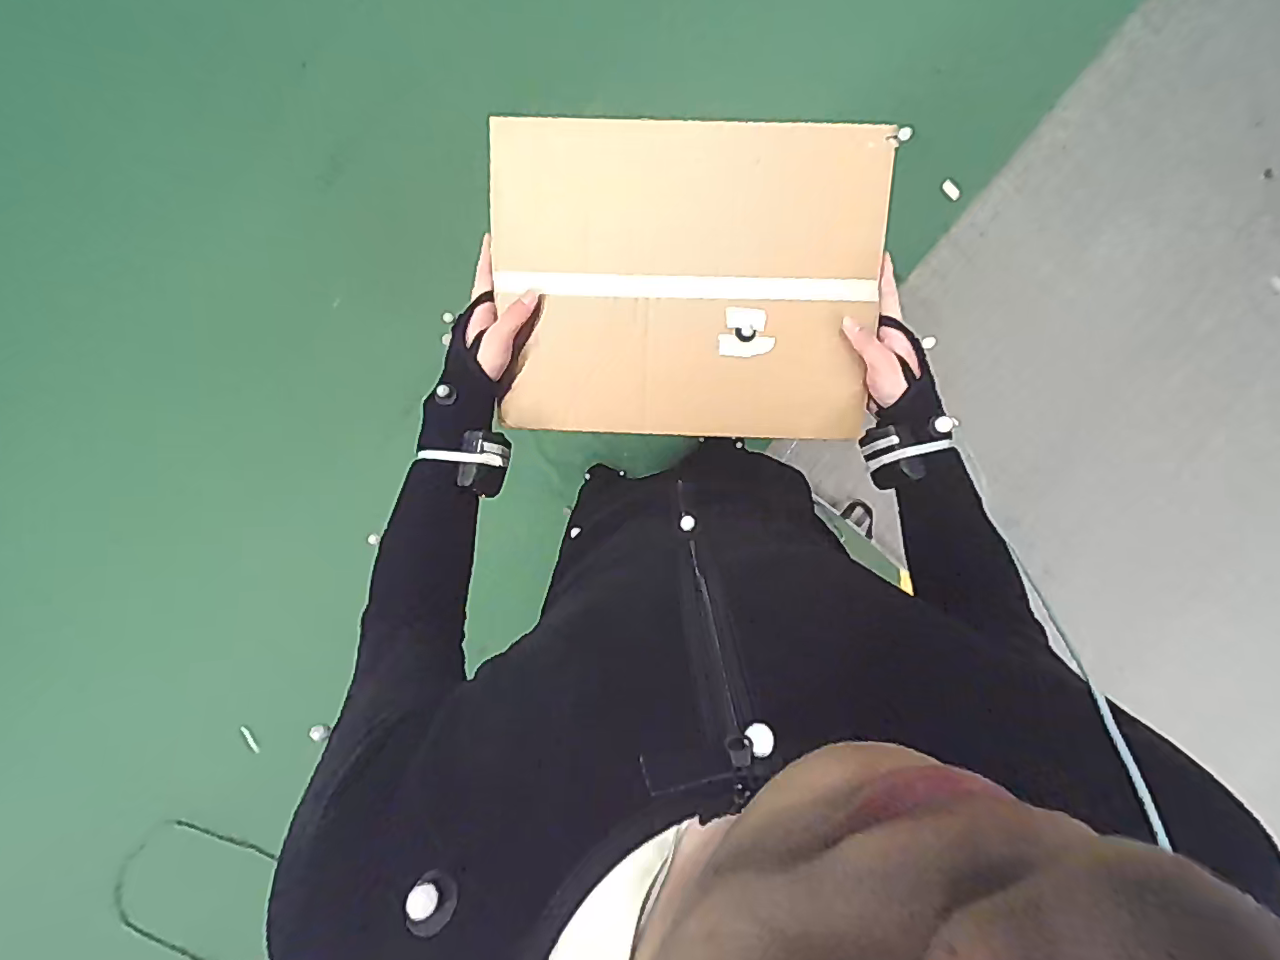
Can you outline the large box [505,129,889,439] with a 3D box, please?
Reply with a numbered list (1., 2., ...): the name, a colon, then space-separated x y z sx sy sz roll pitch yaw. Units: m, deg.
1. large box: 0.054 -0.230 0.728 0.408 0.320 0.320 3 101 1
